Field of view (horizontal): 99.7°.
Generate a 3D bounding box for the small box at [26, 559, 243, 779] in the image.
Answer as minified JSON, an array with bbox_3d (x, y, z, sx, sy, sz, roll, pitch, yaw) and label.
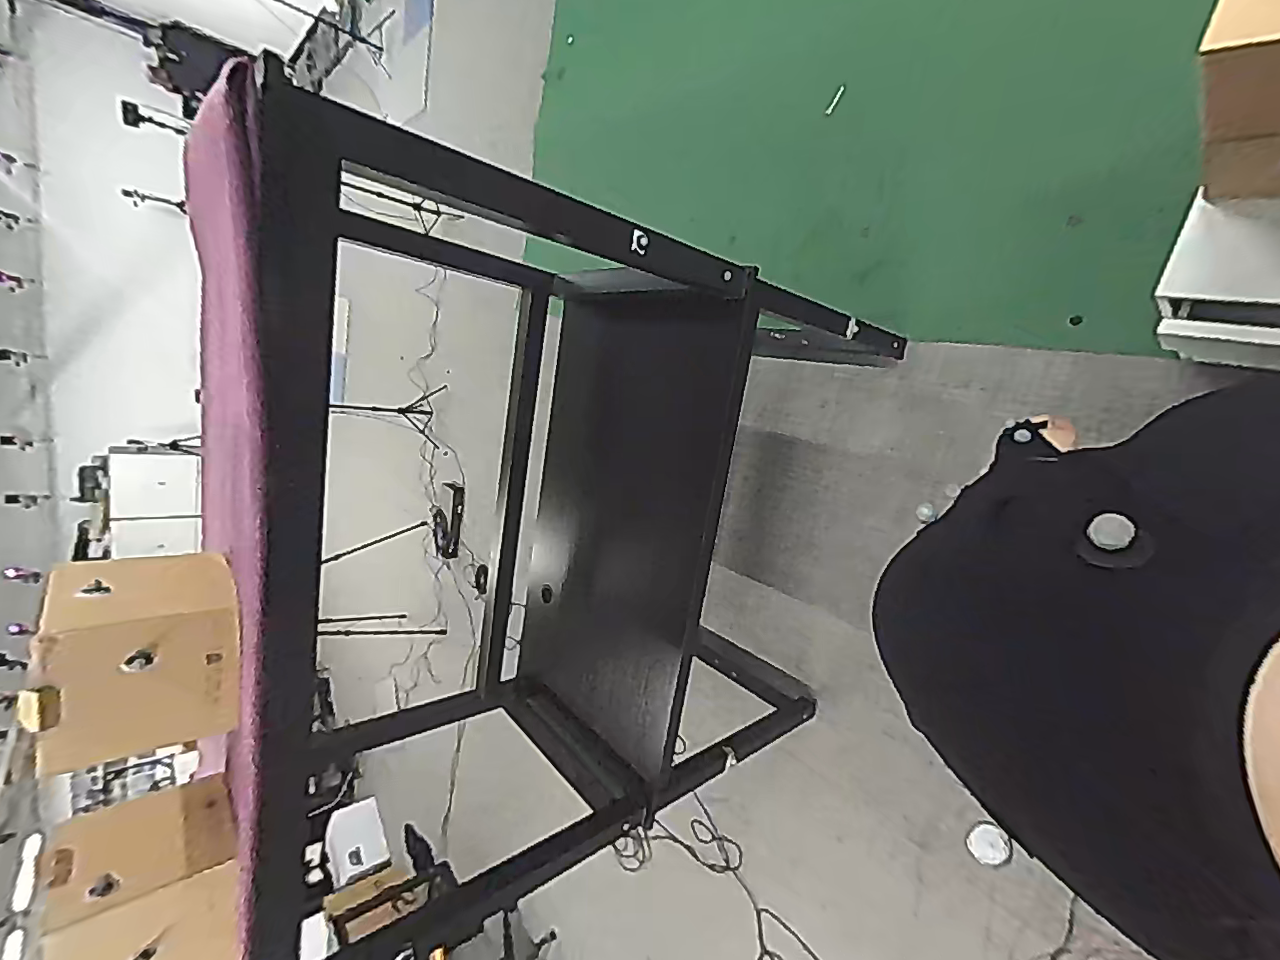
[{"bbox_3d":[-0.583,0.200,0.638,0.179,0.176,0.168,23,106,46],"label":"small box"}]
